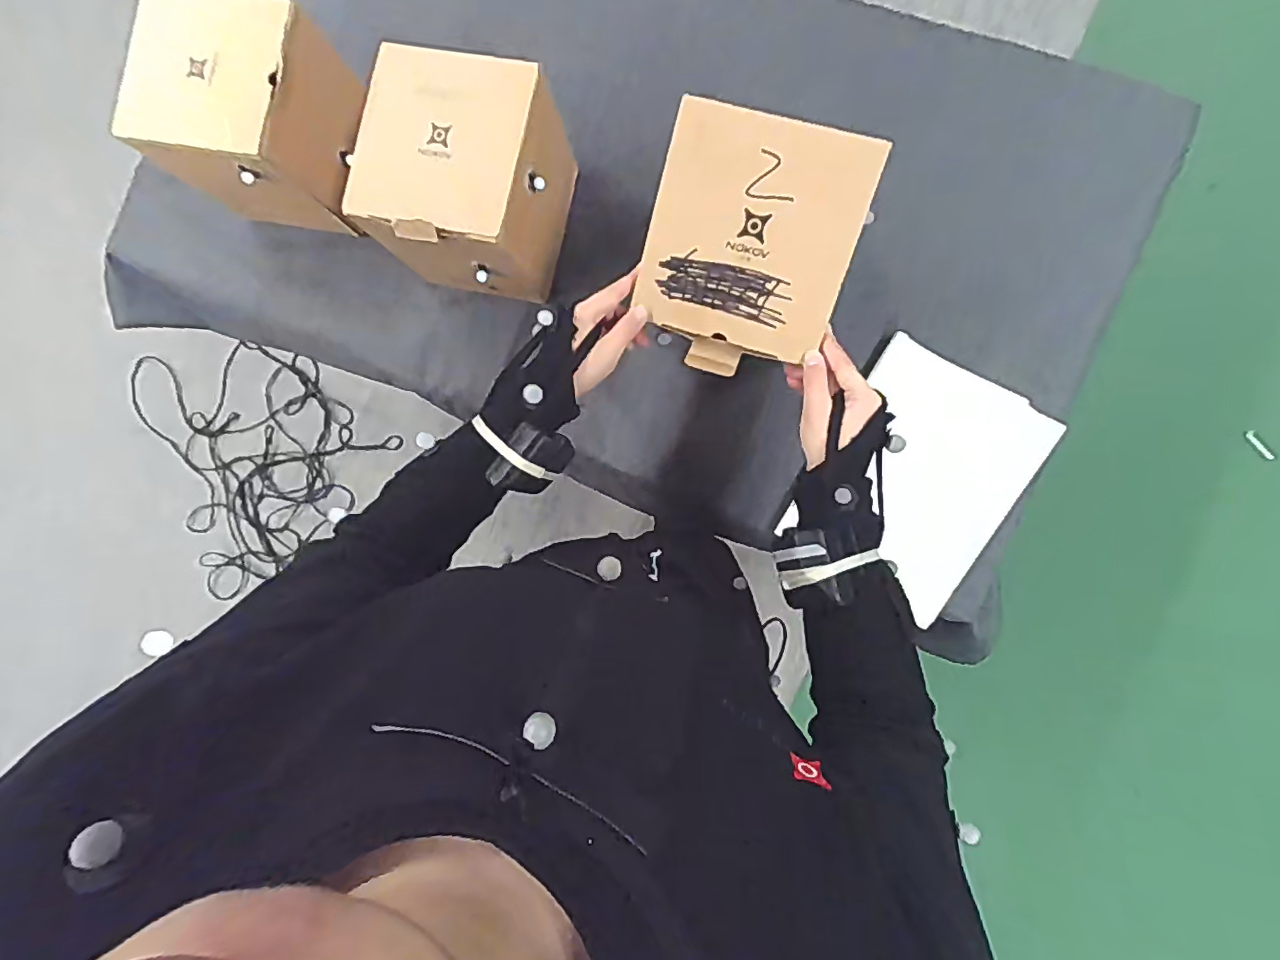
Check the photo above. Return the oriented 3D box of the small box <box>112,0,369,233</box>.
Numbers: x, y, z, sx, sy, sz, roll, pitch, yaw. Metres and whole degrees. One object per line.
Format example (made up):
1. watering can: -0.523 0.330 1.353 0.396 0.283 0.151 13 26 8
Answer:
1. small box: -0.436 -0.412 0.628 0.179 0.176 0.168 11 88 7

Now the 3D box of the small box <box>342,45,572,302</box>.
1. small box: -0.183 -0.318 0.595 0.168 0.176 0.179 13 87 6
